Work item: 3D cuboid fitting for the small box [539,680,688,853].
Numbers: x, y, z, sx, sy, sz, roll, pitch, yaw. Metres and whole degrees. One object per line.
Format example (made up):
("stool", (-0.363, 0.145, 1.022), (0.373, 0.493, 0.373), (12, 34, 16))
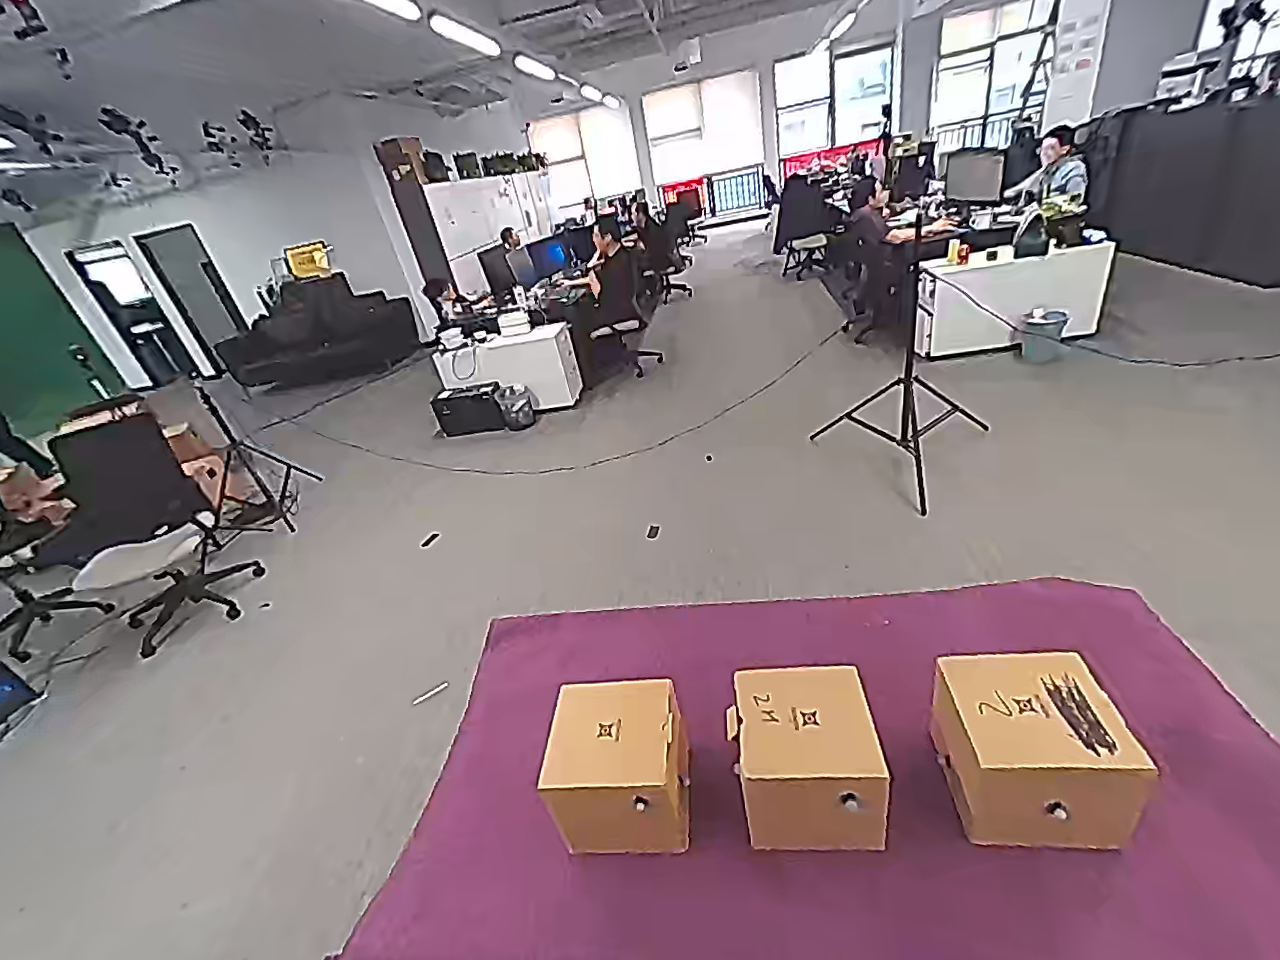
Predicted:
("small box", (-0.027, 0.423, 0.800), (0.179, 0.176, 0.168), (-7, 30, 9))

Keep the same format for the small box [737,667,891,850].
("small box", (0.234, 0.387, 0.756), (0.179, 0.176, 0.168), (-7, 29, 10))
